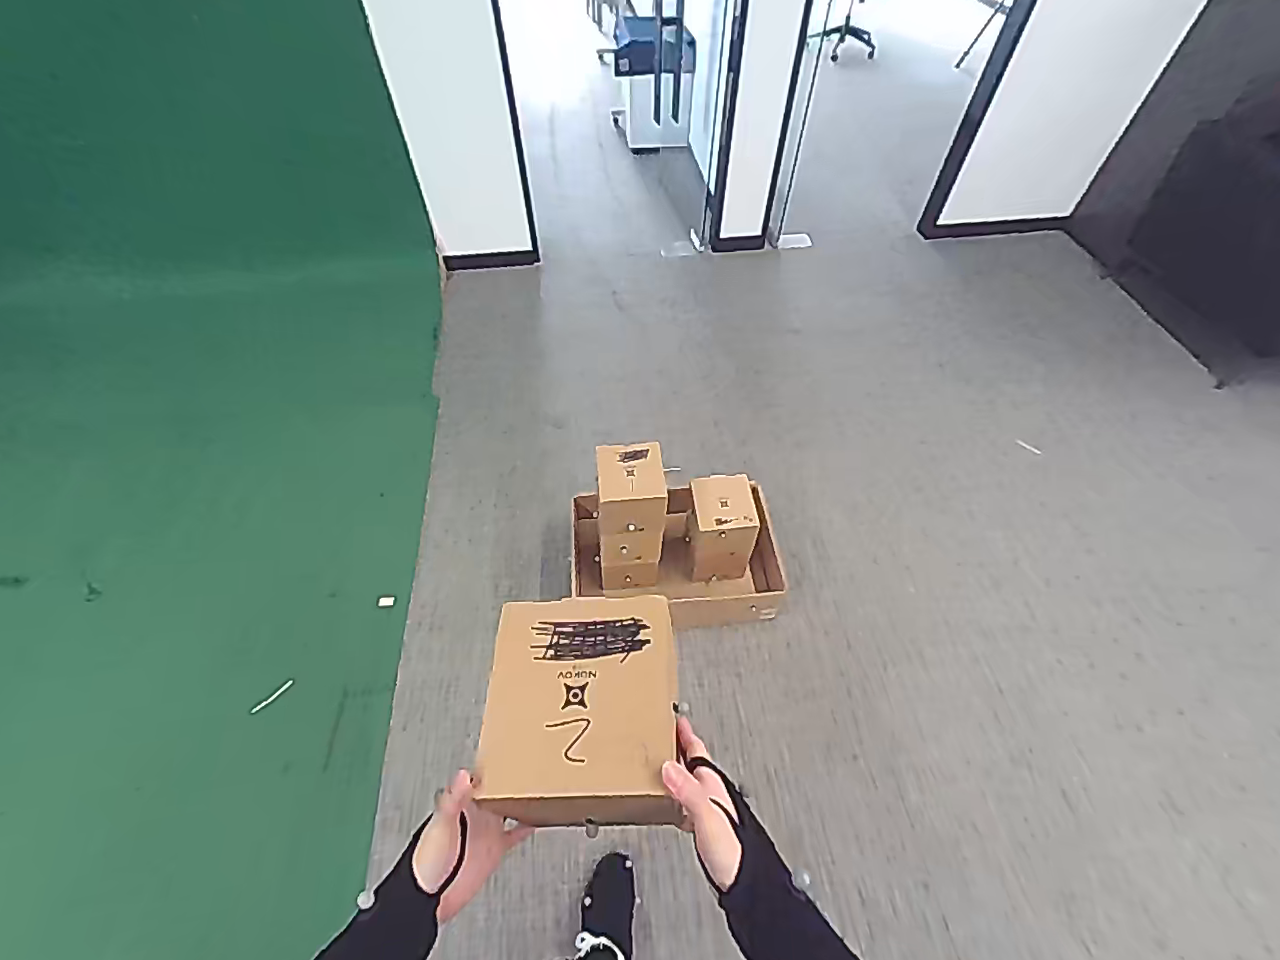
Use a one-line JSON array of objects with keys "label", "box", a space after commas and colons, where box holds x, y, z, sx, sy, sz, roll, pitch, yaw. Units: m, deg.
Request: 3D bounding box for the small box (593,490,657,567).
[{"label": "small box", "box": [-0.043, 0.136, 1.527, 0.168, 0.176, 0.179, -4, 53, -5]}]

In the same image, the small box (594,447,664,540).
[{"label": "small box", "box": [-0.034, 0.036, 1.396, 0.168, 0.176, 0.179, -4, 54, -5]}]

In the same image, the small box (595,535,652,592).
[{"label": "small box", "box": [-0.051, 0.233, 1.655, 0.168, 0.176, 0.179, -3, 53, -4]}]

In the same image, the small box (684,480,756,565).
[{"label": "small box", "box": [0.220, 0.121, 1.543, 0.168, 0.176, 0.179, -4, 53, -3]}]
